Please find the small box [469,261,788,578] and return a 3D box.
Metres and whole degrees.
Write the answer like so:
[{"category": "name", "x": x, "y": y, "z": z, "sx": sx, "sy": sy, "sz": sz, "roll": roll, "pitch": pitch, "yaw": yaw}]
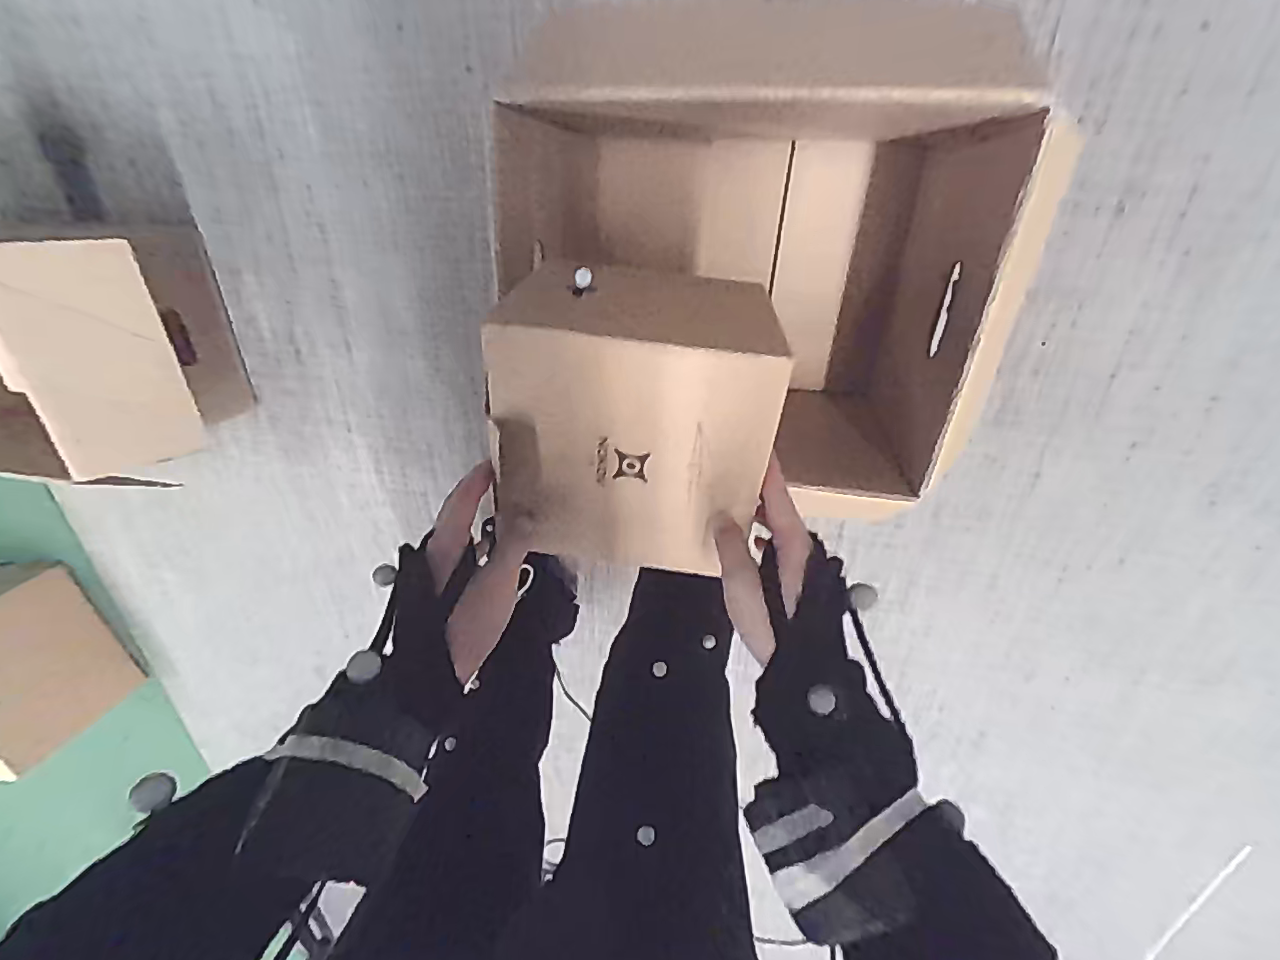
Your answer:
[{"category": "small box", "x": -0.007, "y": -0.054, "z": 0.398, "sx": 0.179, "sy": 0.176, "sz": 0.168, "roll": 7, "pitch": 124, "yaw": 1}]
